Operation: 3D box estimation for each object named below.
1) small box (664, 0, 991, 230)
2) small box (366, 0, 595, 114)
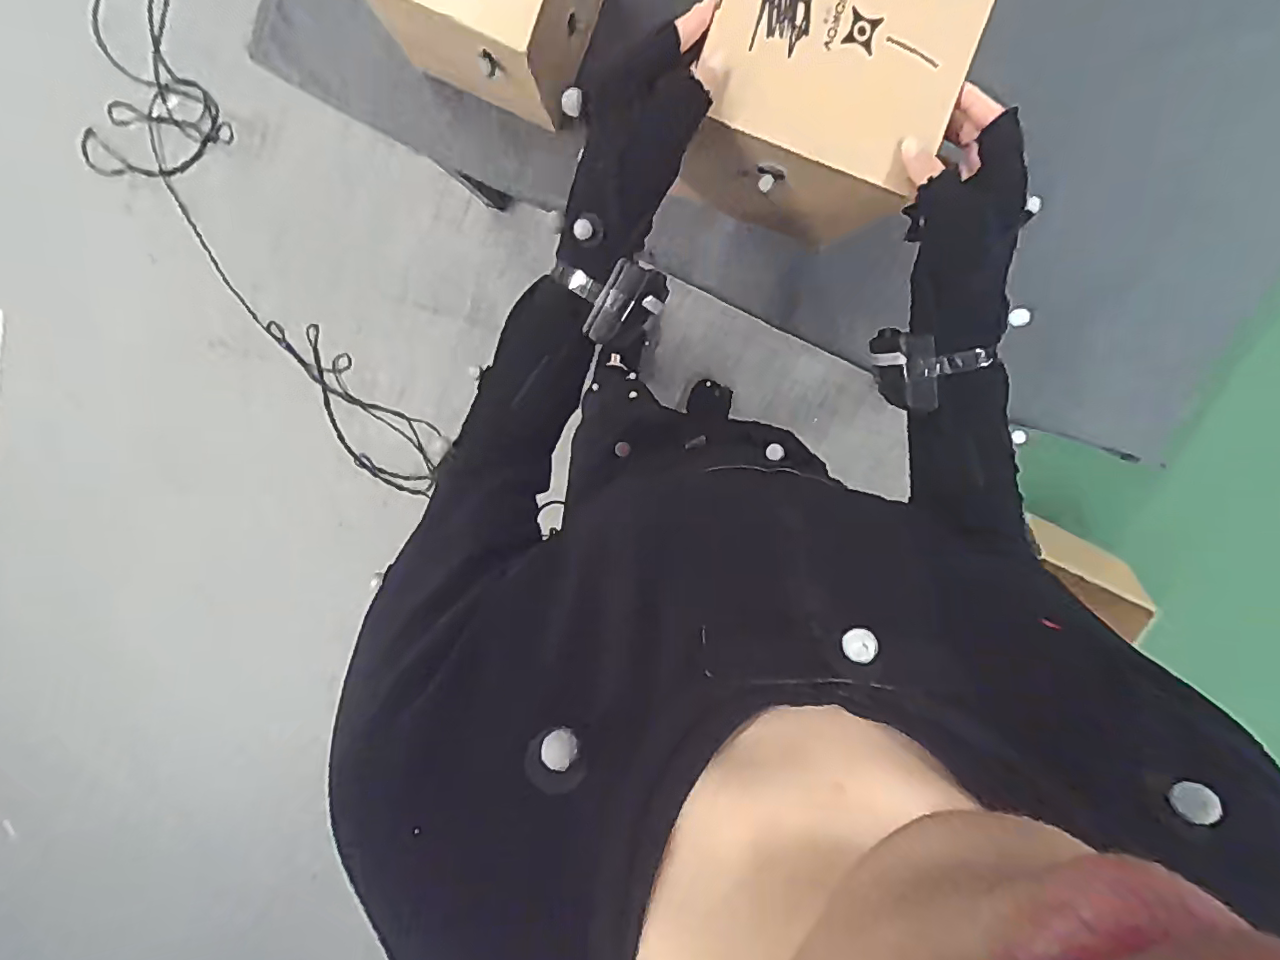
[{"bbox_3d":[0.128,-0.318,0.422,0.179,0.176,0.168,17,102,-8],"label":"small box"},{"bbox_3d":[-0.150,-0.501,0.531,0.179,0.176,0.168,23,102,-4],"label":"small box"}]
